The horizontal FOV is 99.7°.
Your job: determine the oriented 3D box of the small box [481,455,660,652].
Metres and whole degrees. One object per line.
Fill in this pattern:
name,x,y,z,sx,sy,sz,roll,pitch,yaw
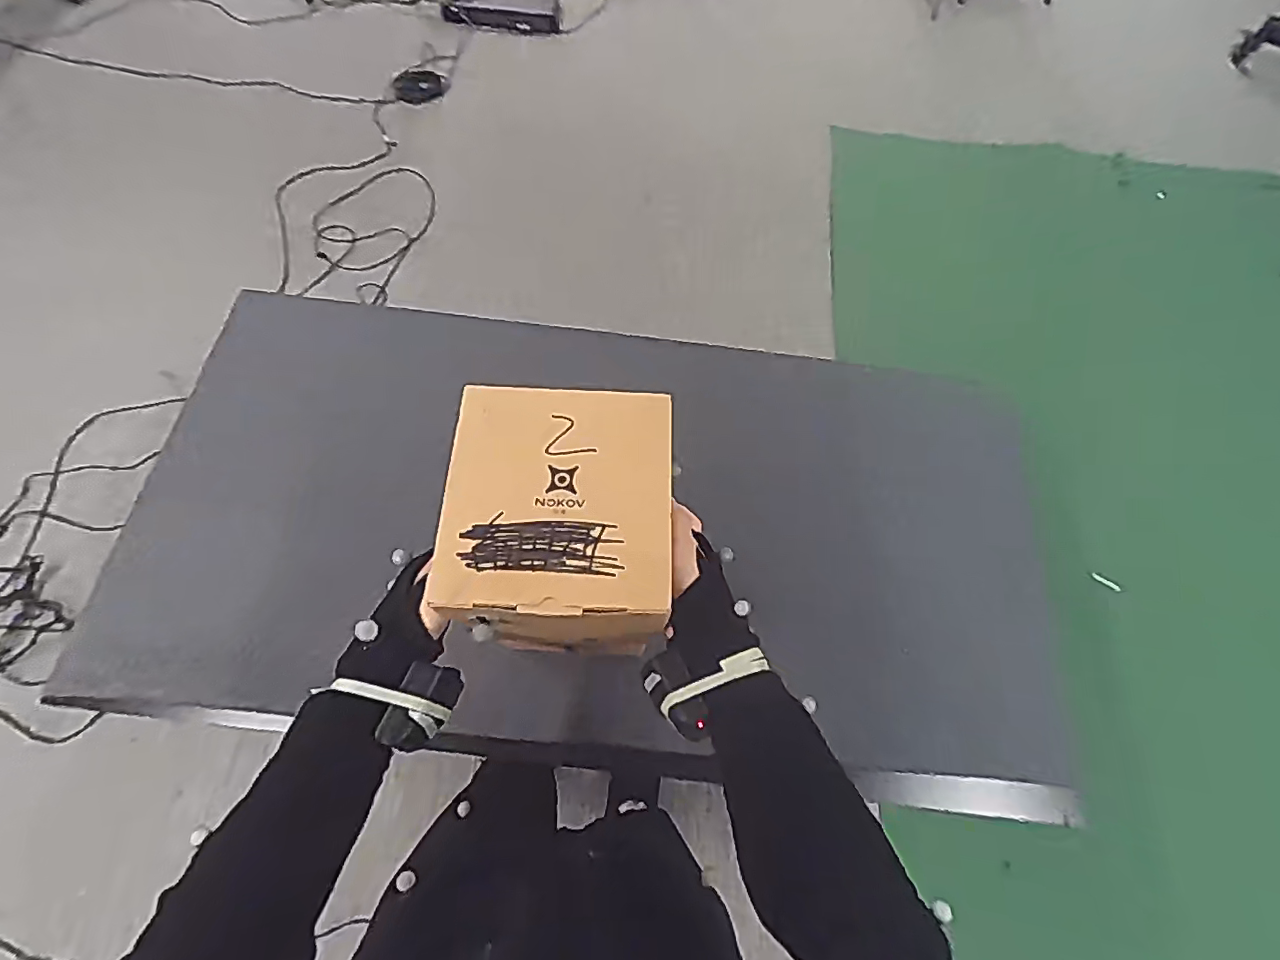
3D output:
small box,-0.069,0.091,0.616,0.168,0.176,0.179,3,66,-1
